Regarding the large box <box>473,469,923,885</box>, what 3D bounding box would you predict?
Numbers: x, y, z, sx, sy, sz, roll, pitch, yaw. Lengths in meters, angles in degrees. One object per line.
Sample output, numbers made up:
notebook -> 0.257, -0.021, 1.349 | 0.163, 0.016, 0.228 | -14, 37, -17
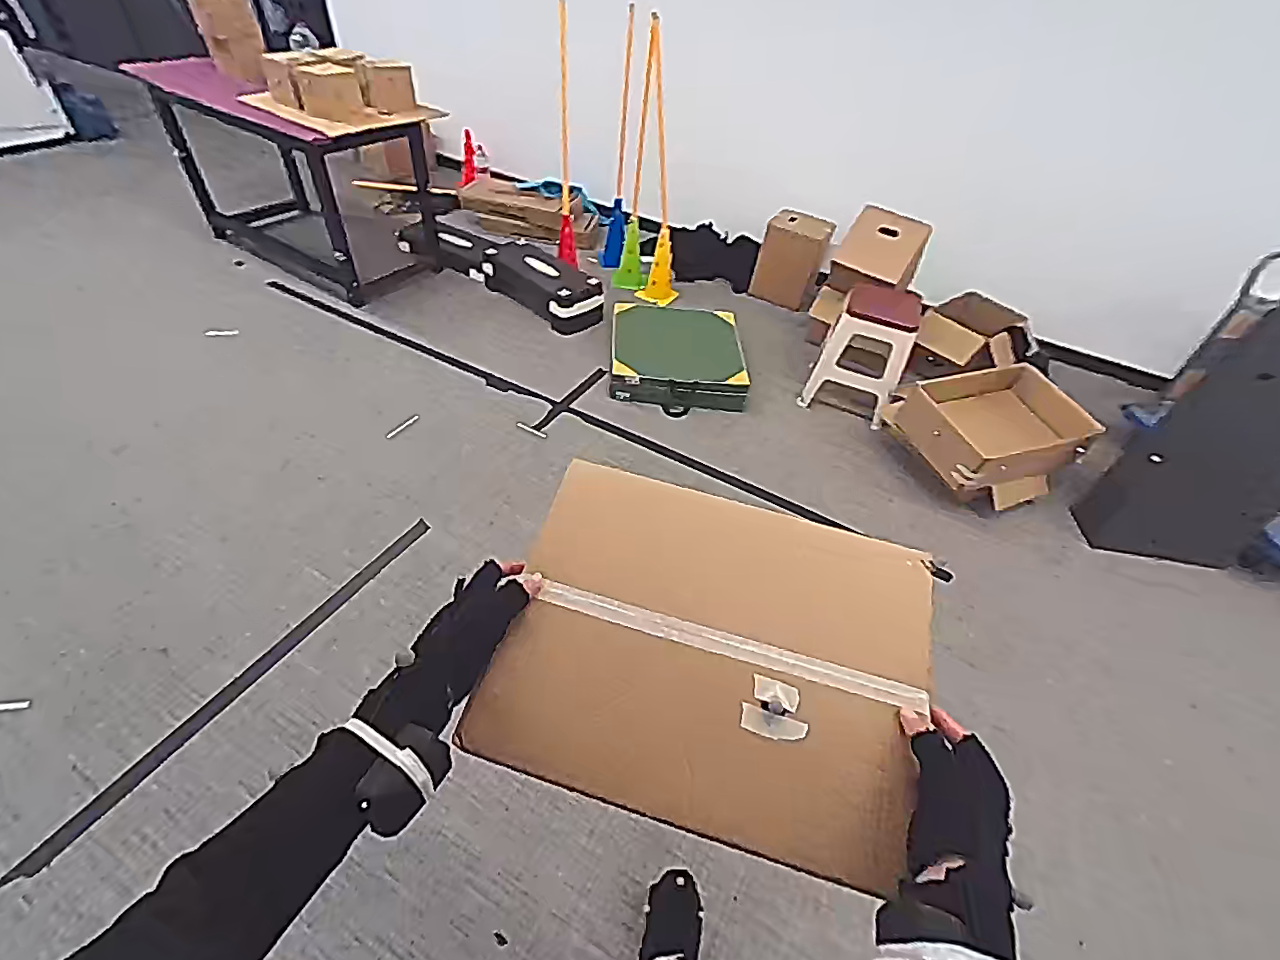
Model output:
large box -> 0.071, 0.234, 0.668 | 0.408, 0.320, 0.320 | 16, 62, 7
